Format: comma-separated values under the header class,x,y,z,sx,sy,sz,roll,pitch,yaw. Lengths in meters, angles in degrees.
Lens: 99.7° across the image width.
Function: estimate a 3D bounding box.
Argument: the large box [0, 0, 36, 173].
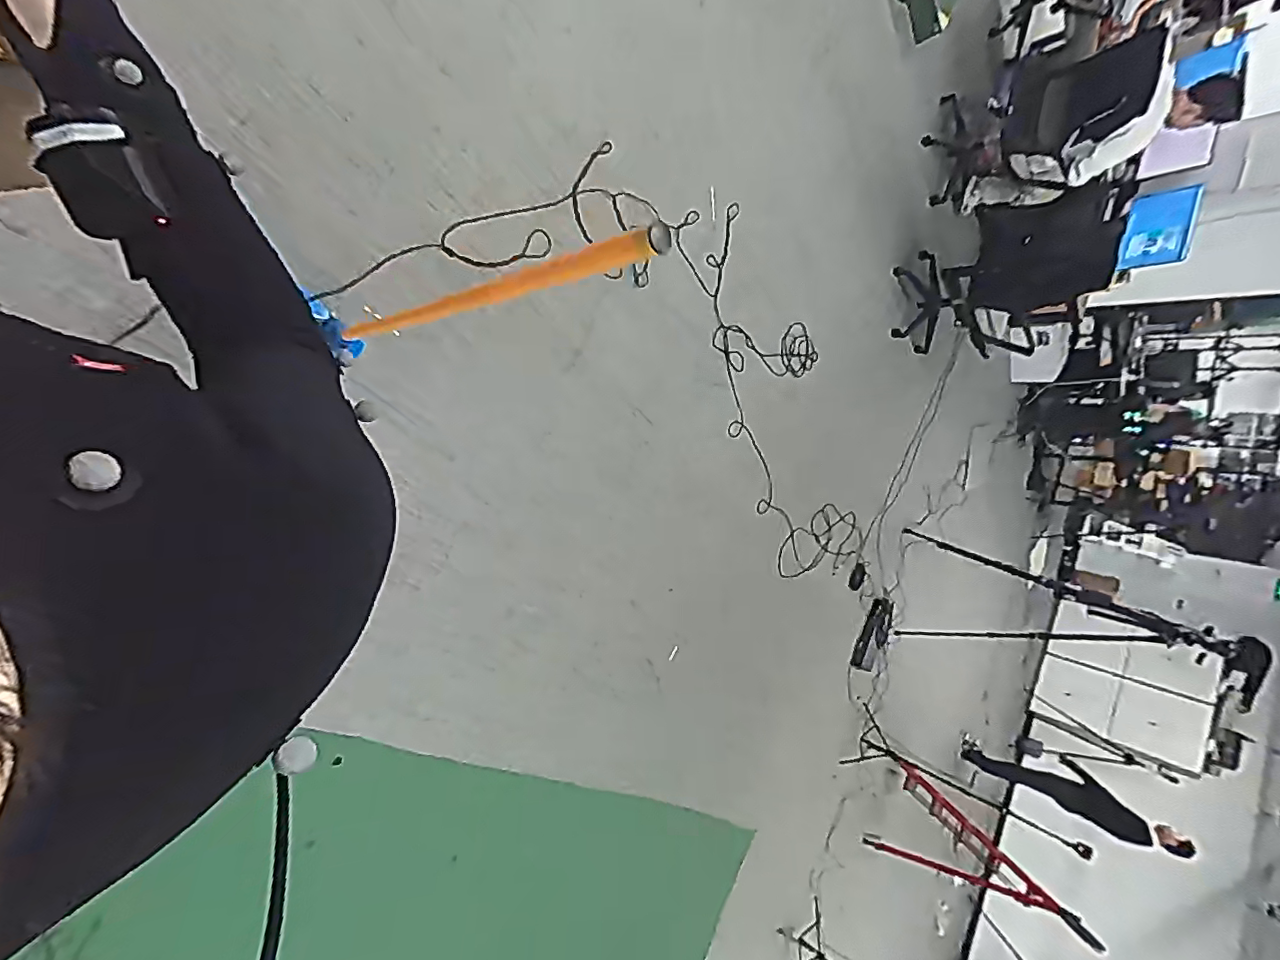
class,x,y,z,sx,sy,sz,roll,pitch,yaw
large box,-0.646,-0.326,0.249,0.408,0.320,0.320,-35,122,-38
